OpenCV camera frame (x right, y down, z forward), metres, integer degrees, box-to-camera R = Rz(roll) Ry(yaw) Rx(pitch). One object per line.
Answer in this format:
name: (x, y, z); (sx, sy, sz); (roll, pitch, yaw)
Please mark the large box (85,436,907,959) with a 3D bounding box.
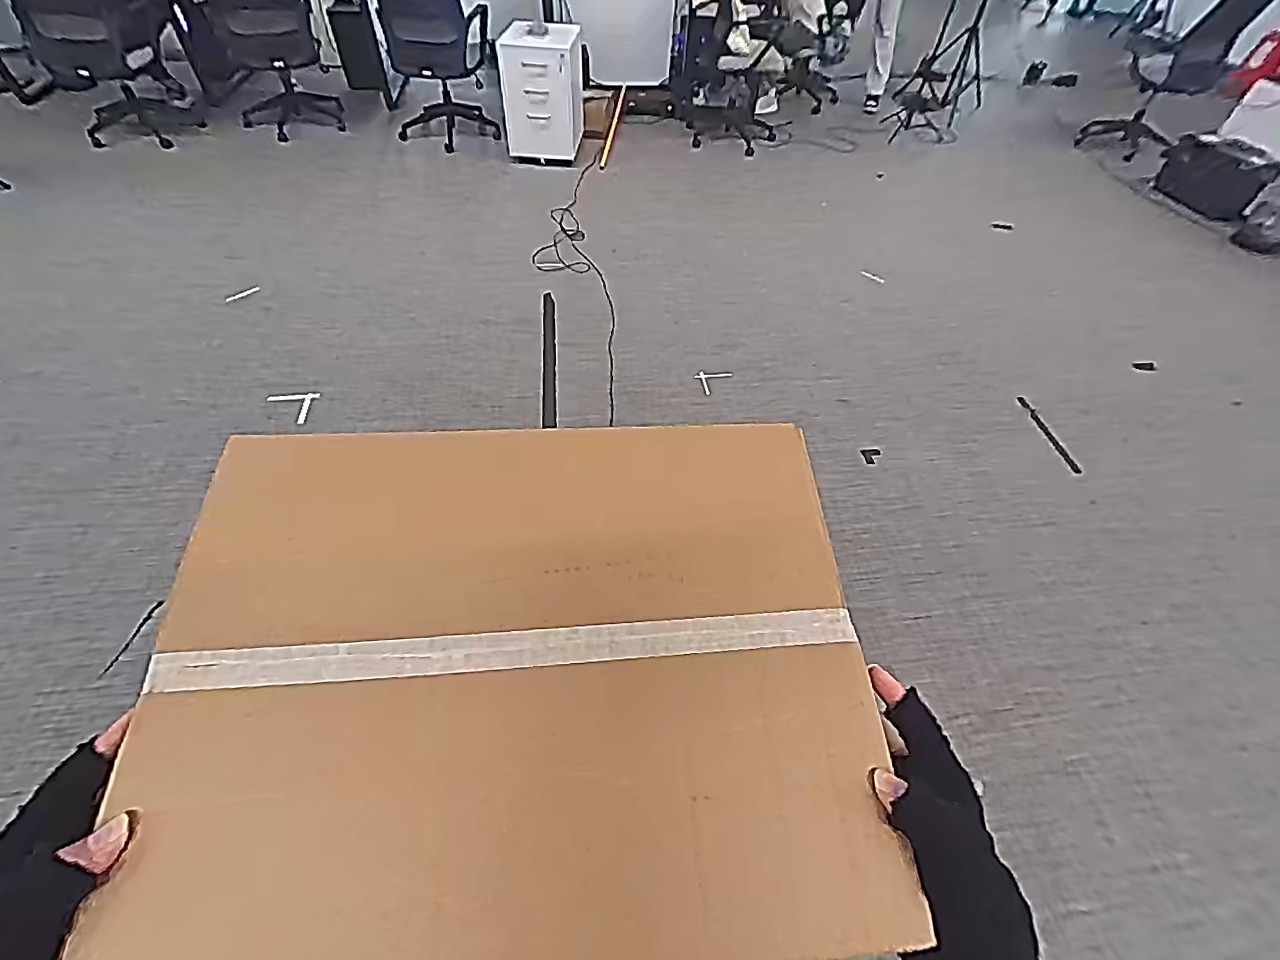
large box: (-0.079, 0.181, 0.456); (0.408, 0.320, 0.320); (-2, 61, -6)
